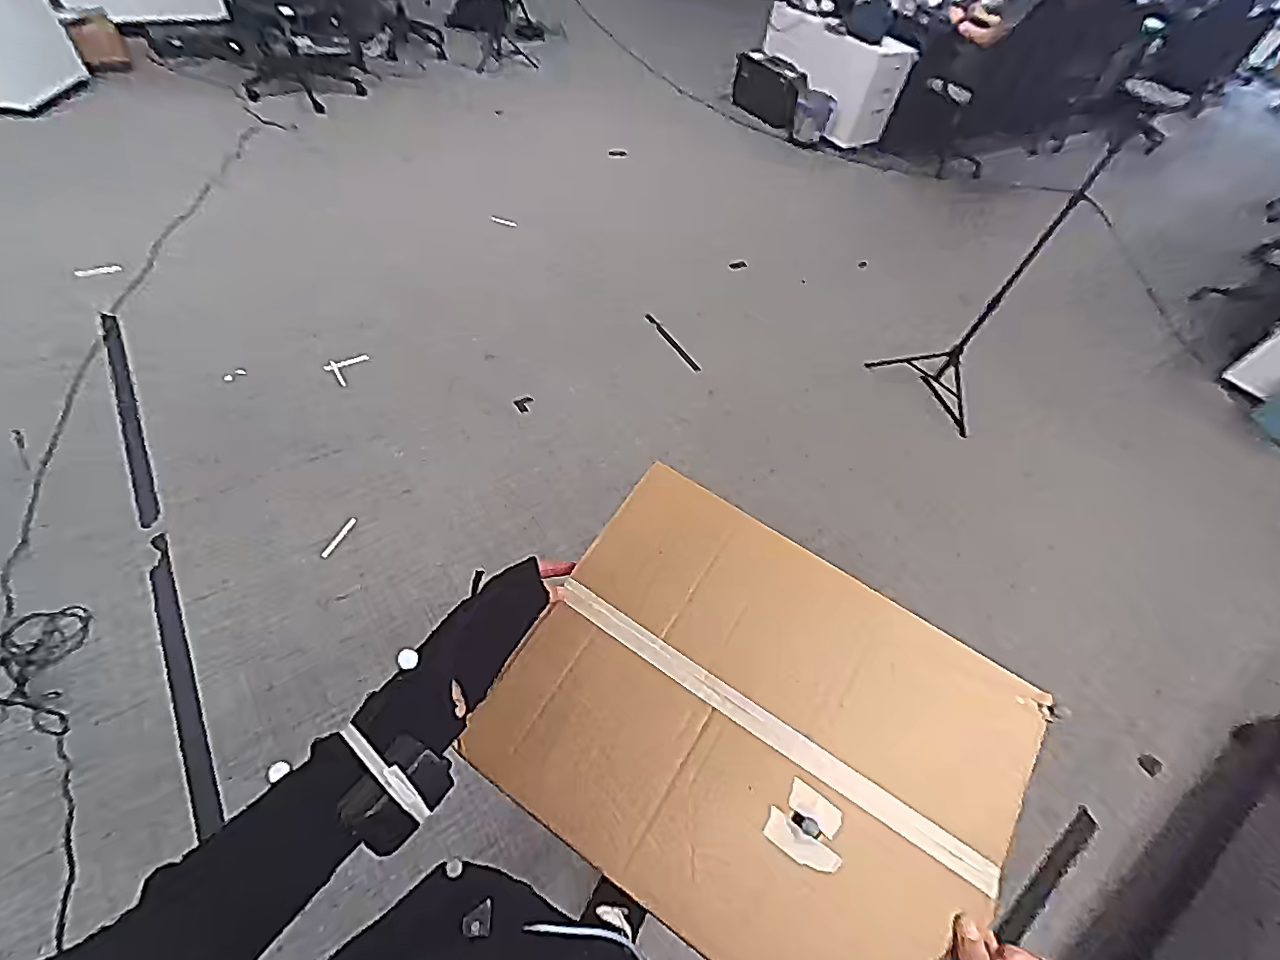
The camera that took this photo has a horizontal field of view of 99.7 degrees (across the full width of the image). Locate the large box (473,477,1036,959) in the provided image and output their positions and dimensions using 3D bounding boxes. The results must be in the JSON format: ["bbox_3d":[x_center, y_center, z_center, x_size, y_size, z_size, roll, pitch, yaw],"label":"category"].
[{"bbox_3d":[0.099,0.268,0.598,0.408,0.320,0.320,32,69,12],"label":"large box"}]
